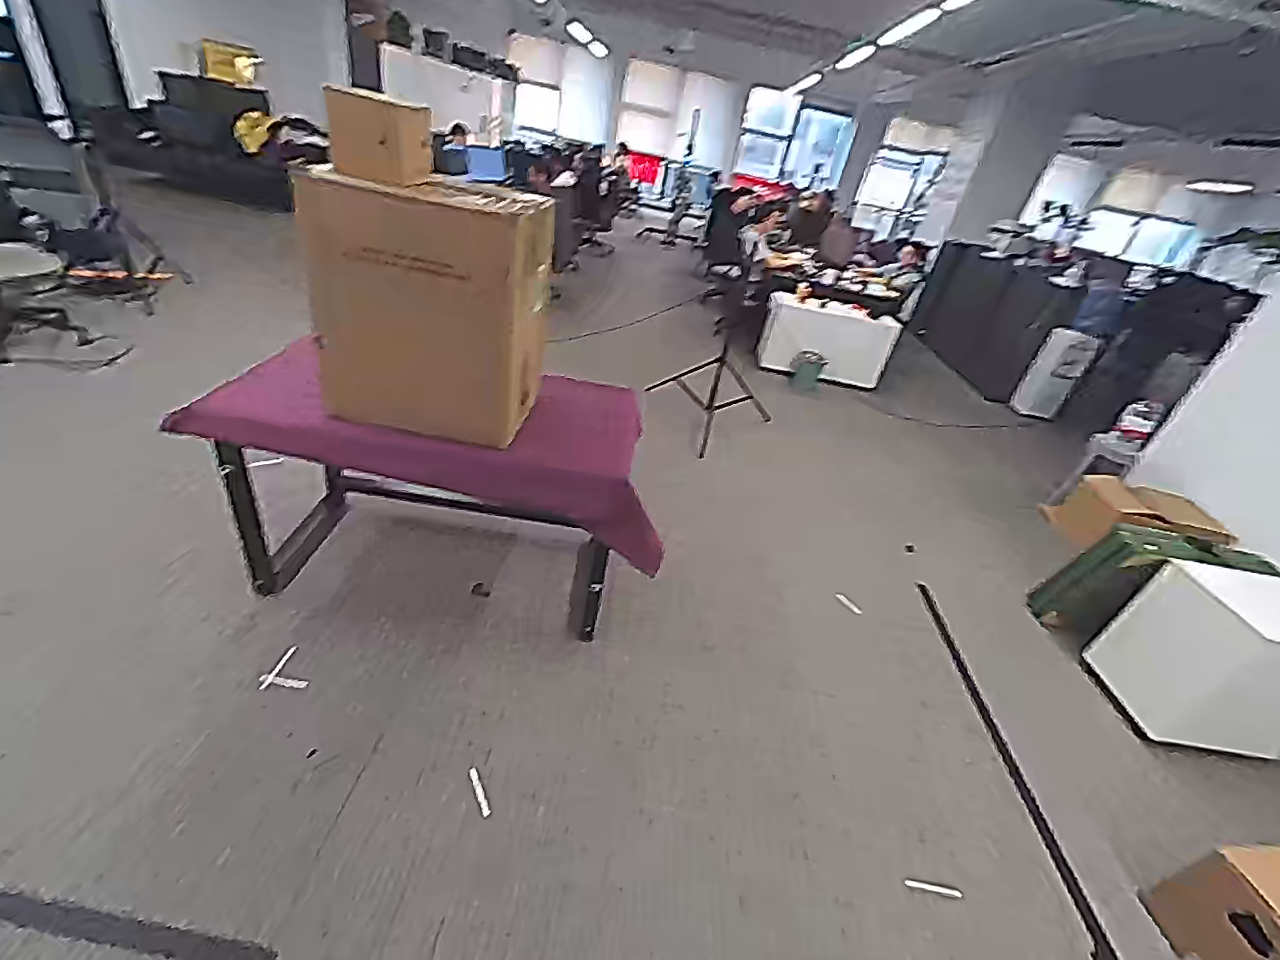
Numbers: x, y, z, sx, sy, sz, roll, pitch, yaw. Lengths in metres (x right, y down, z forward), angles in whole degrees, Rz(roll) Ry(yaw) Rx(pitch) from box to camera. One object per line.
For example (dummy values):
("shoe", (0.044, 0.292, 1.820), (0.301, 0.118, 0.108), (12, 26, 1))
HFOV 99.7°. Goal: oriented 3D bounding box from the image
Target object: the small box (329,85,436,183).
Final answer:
("small box", (-0.603, -0.817, 1.291), (0.179, 0.176, 0.168), (12, 32, -1))
